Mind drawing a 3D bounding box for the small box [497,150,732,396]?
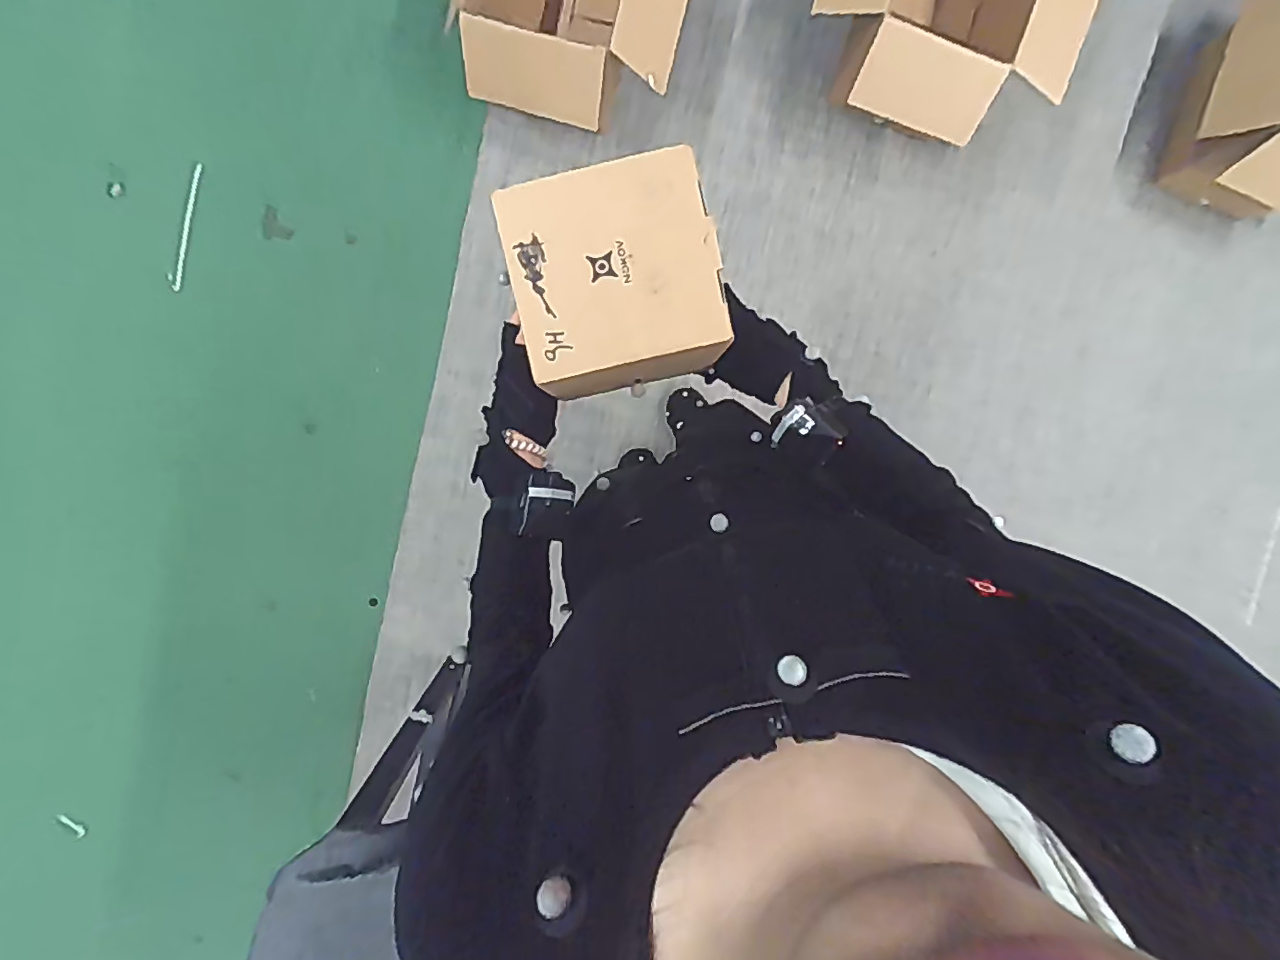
[{"bbox_3d":[-0.022,-0.186,0.539,0.179,0.176,0.168,-12,92,0],"label":"small box"}]
